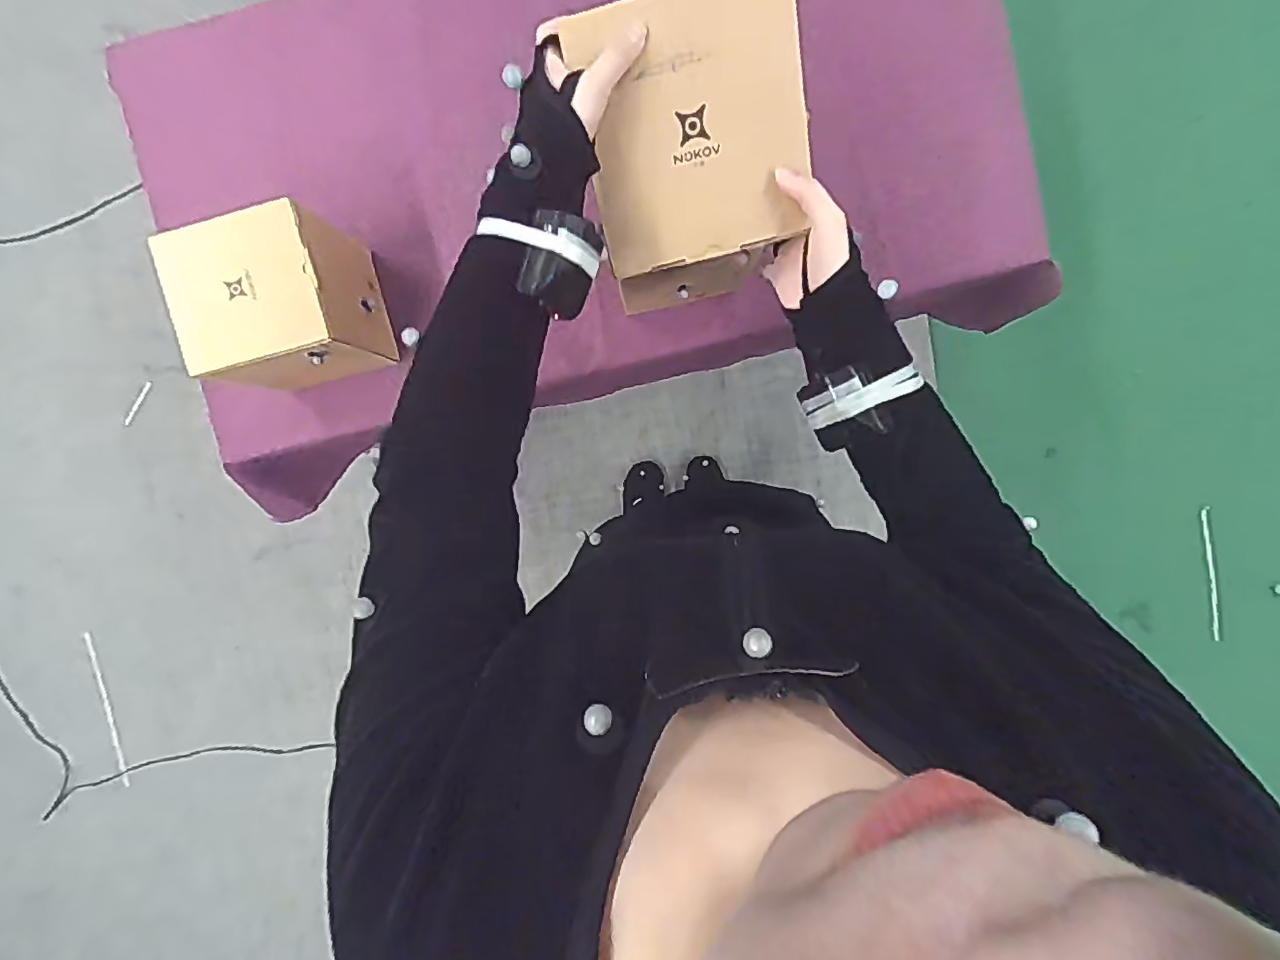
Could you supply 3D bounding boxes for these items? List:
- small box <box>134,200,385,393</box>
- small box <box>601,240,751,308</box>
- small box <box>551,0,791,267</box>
[{"bbox_3d":[-0.463,-0.215,0.686,0.179,0.176,0.168,-16,93,1],"label":"small box"},{"bbox_3d":[0.029,-0.324,0.666,0.168,0.176,0.179,-12,93,1],"label":"small box"},{"bbox_3d":[0.027,-0.311,0.499,0.168,0.176,0.179,-11,97,1],"label":"small box"}]
